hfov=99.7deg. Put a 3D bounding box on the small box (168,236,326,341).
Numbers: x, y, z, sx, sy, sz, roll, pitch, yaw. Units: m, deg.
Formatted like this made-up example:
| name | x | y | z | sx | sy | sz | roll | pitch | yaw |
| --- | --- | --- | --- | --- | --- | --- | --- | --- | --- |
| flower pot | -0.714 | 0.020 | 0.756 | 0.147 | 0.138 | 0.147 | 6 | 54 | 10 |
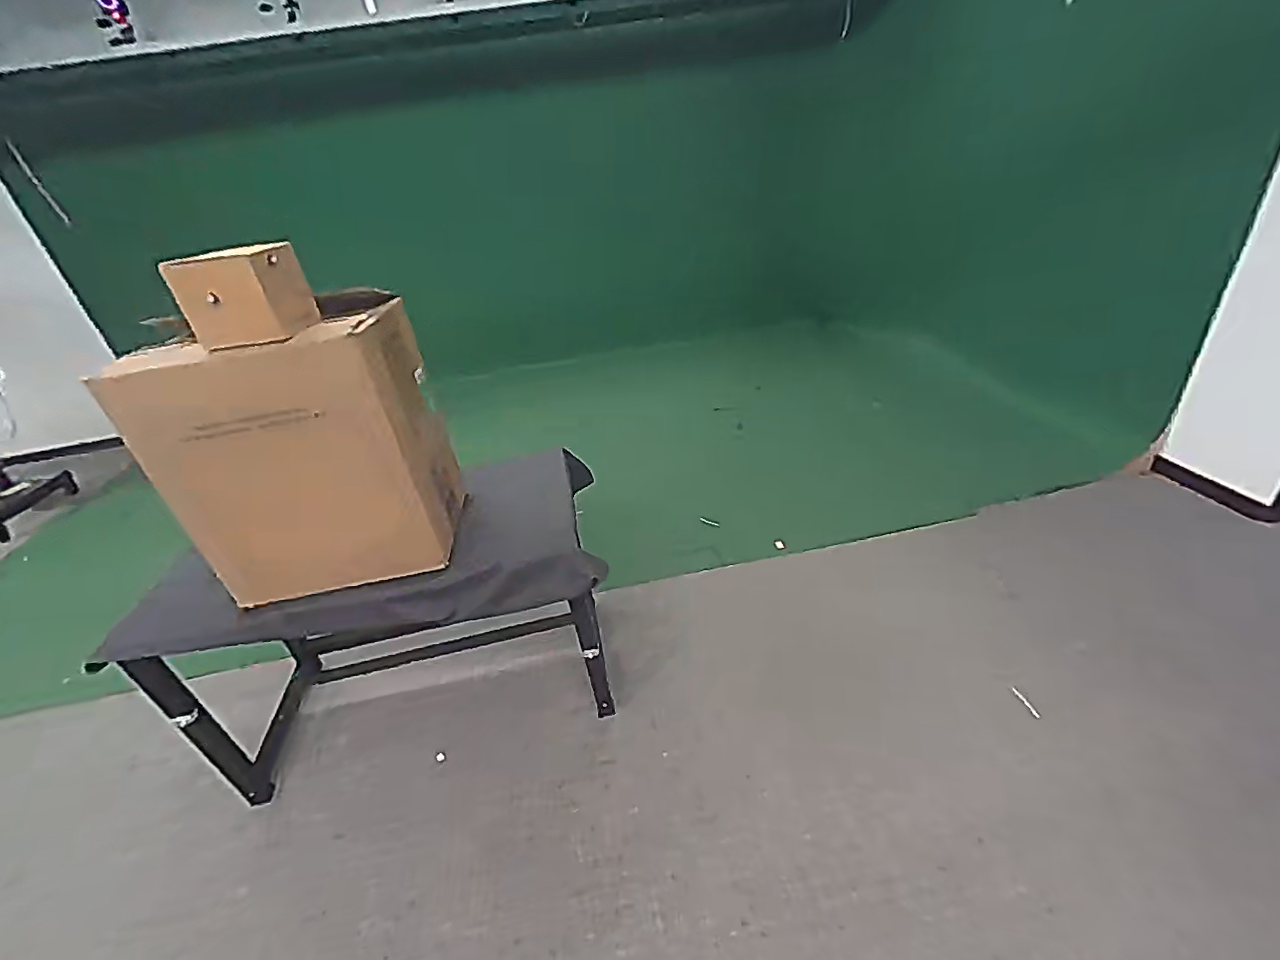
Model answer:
| name | x | y | z | sx | sy | sz | roll | pitch | yaw |
| --- | --- | --- | --- | --- | --- | --- | --- | --- | --- |
| small box | -0.809 | -0.401 | 1.136 | 0.179 | 0.176 | 0.168 | -7 | 32 | 2 |
